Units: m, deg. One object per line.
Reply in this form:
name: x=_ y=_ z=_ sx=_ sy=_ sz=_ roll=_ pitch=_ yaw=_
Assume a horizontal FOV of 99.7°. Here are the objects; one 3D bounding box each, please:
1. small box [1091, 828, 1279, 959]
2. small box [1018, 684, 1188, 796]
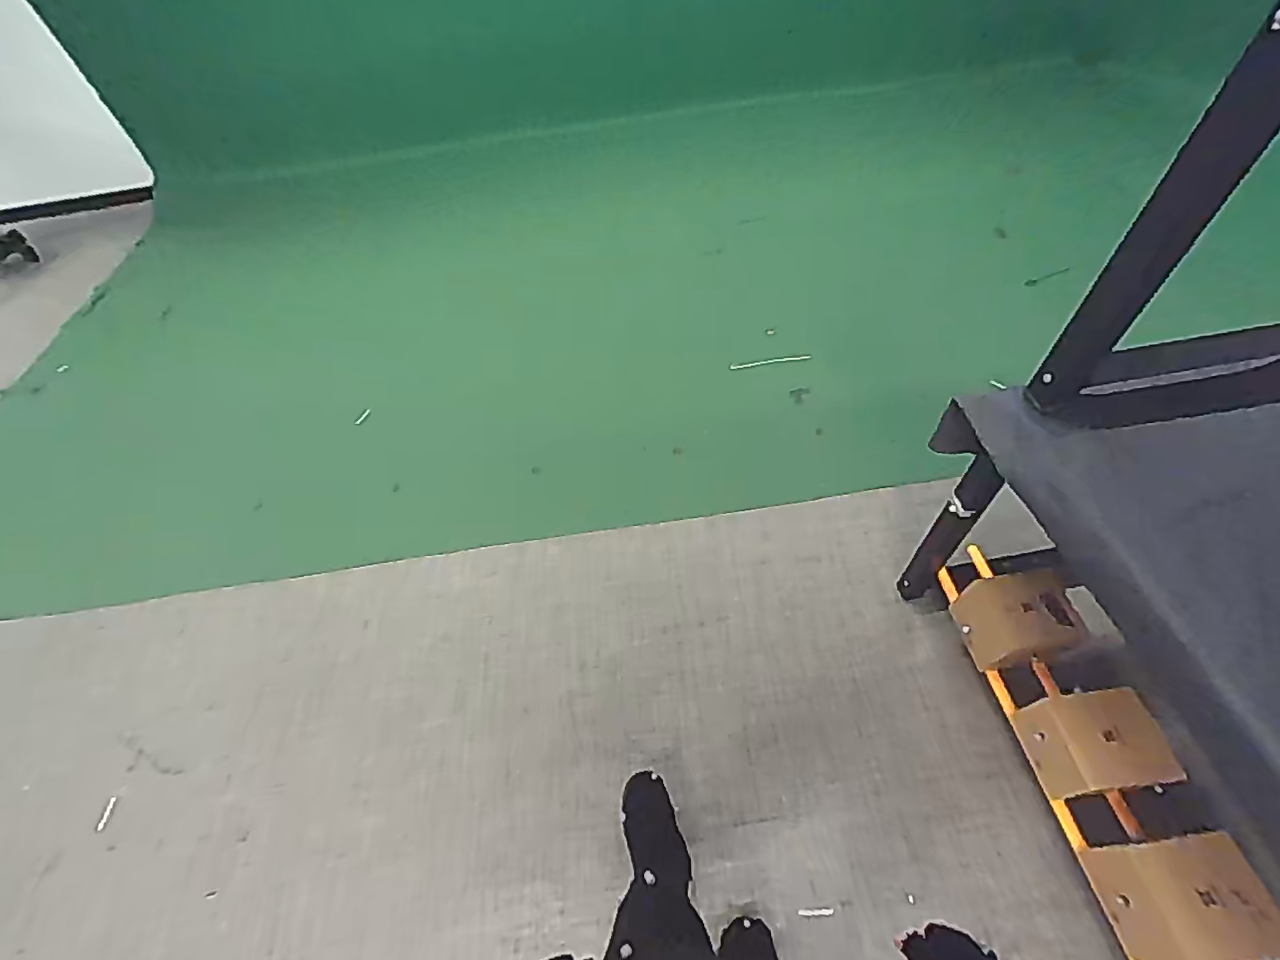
small box: x=0.940 y=0.719 z=0.938 sx=0.179 sy=0.176 sz=0.168 roll=-9 pitch=53 yaw=1
small box: x=0.906 y=0.526 z=1.087 sx=0.179 sy=0.176 sz=0.168 roll=-8 pitch=54 yaw=2
